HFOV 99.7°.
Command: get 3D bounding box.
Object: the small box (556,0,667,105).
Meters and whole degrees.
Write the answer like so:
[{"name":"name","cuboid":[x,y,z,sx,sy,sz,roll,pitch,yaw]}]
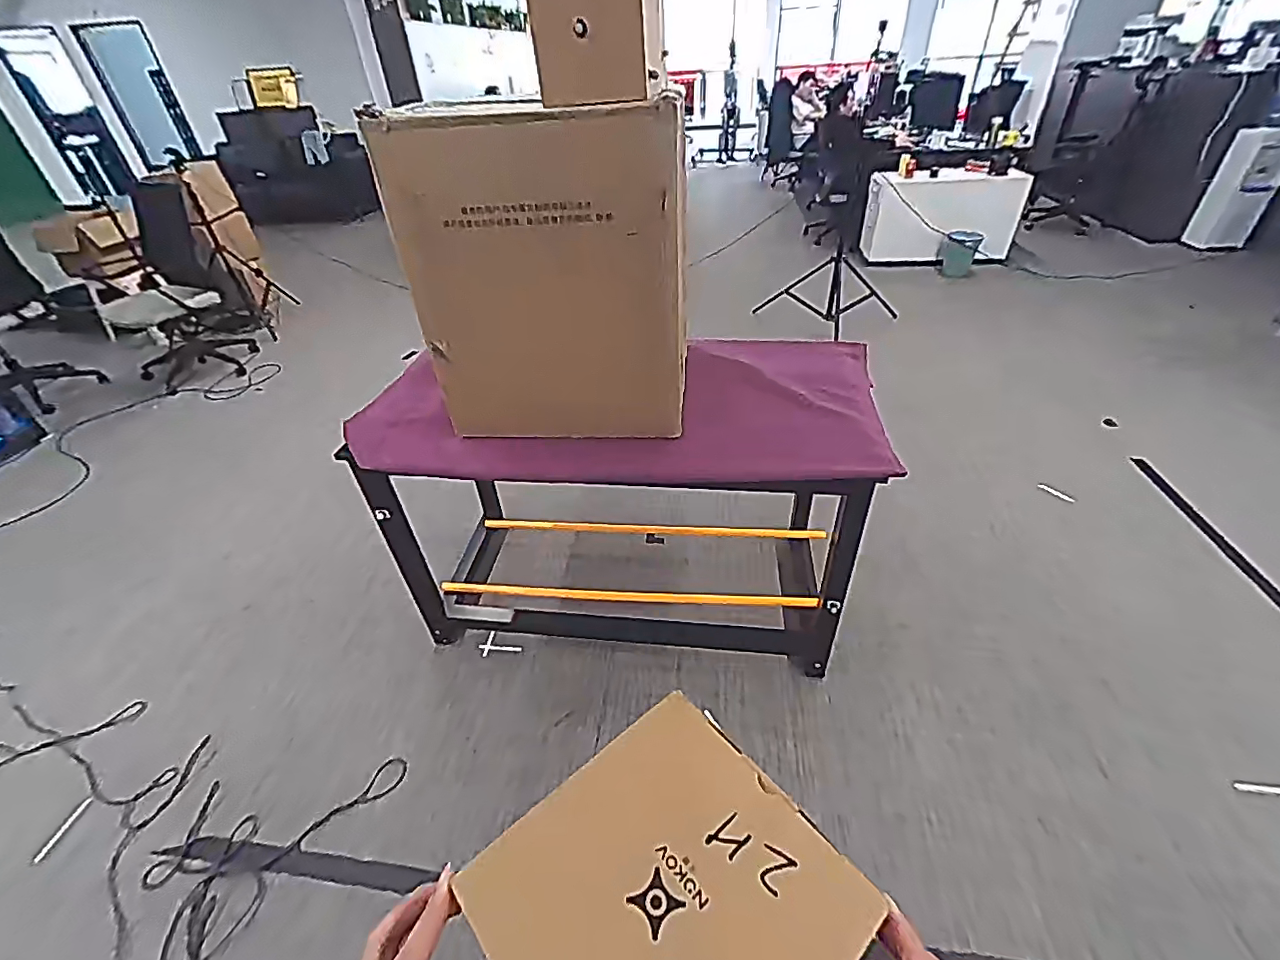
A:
[{"name":"small box","cuboid":[-0.045,-0.808,1.007,0.179,0.176,0.168,1,37,7]}]
